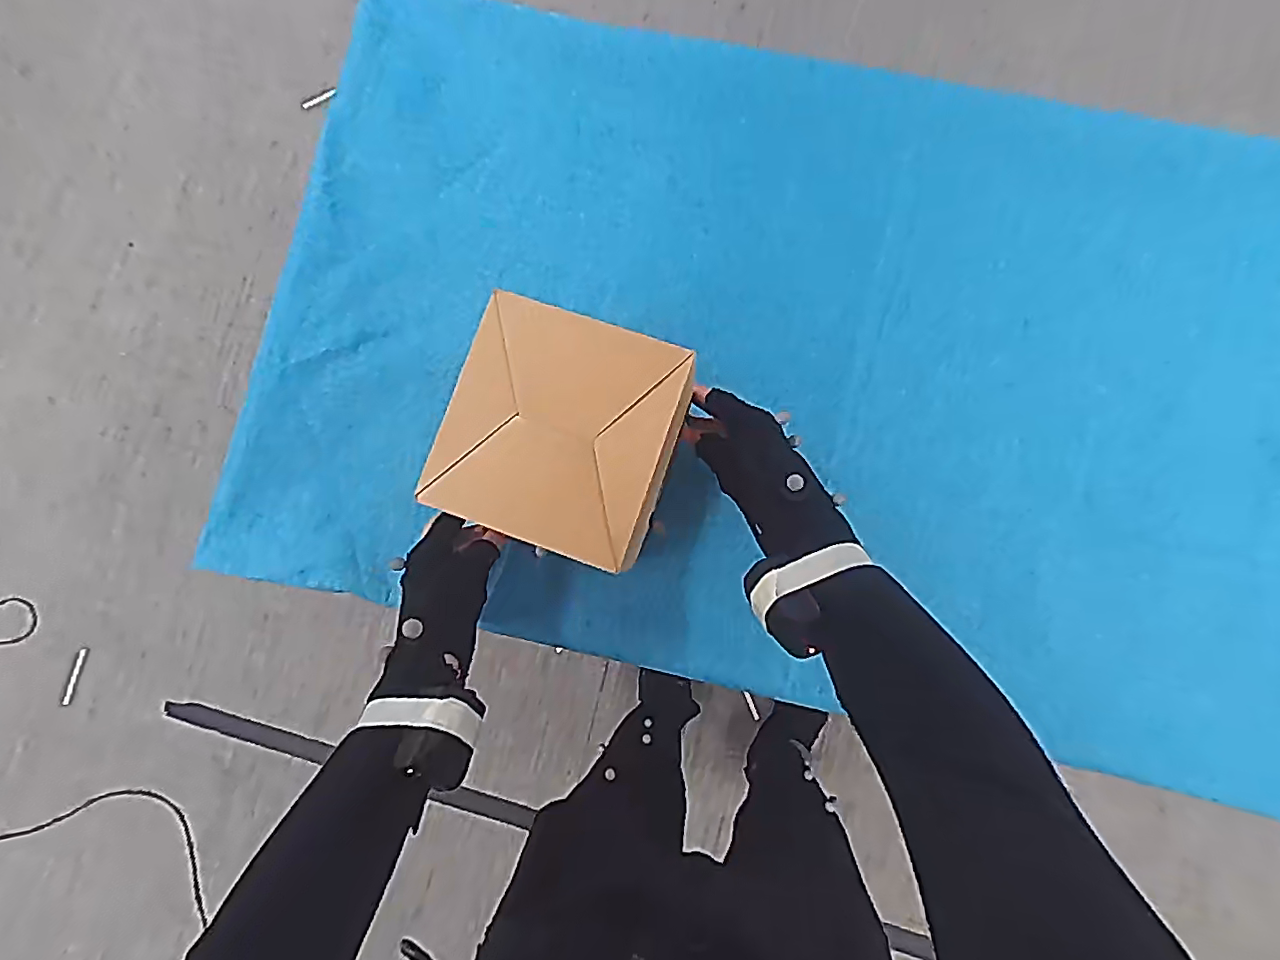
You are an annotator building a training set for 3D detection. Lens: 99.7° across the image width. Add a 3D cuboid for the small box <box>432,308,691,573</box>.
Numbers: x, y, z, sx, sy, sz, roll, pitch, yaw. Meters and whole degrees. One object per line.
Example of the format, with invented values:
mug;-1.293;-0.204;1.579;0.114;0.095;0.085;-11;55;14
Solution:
small box;-0.057;-0.024;0.488;0.168;0.176;0.179;19;85;6
